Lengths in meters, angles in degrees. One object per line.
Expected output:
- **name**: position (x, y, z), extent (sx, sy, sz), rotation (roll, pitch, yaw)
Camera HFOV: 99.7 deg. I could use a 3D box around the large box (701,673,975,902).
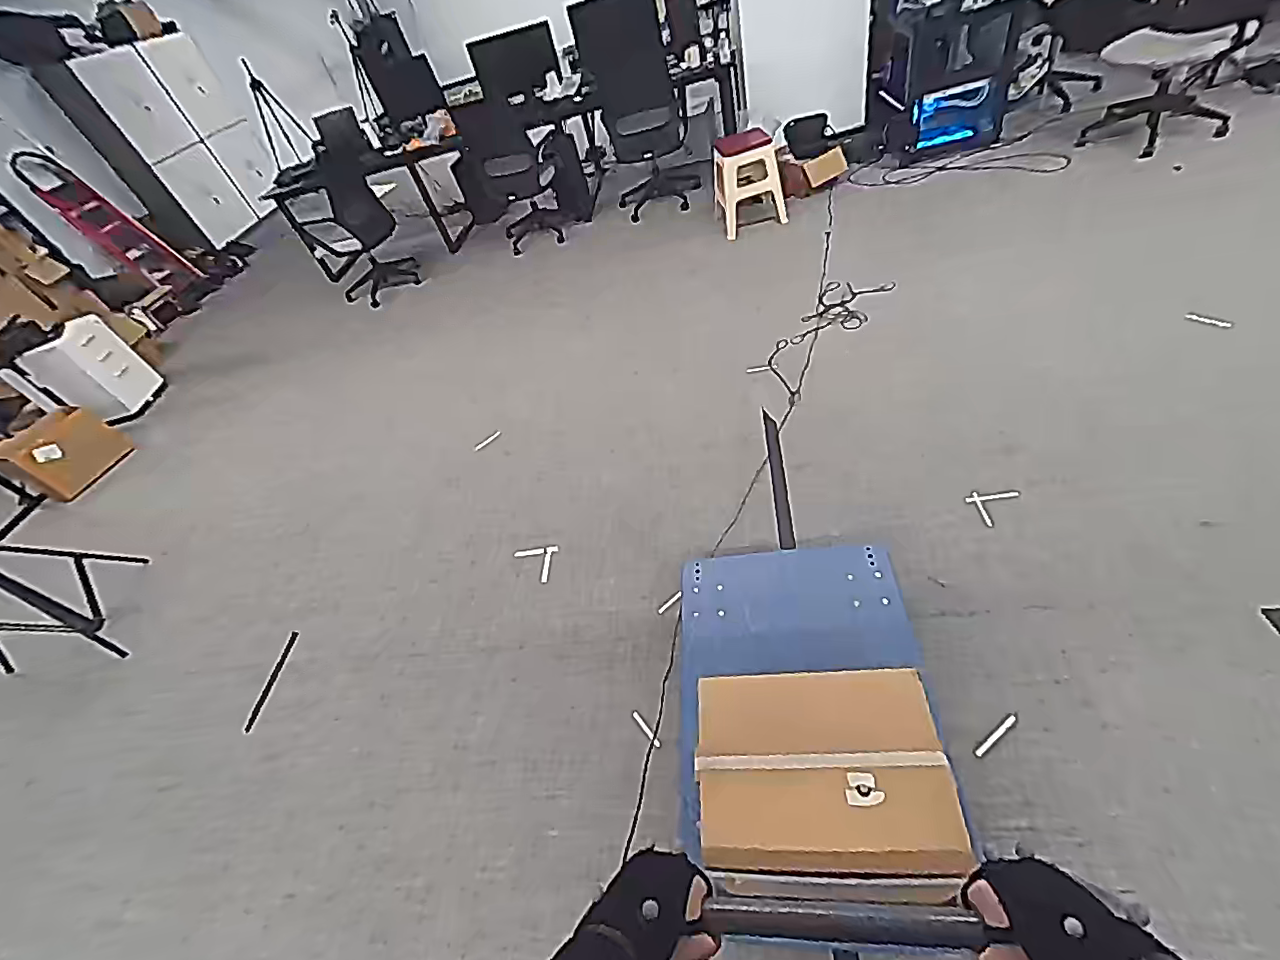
- **large box**: position (0.341, 0.594, 1.035), extent (0.408, 0.320, 0.320), rotation (-7, 46, 12)
